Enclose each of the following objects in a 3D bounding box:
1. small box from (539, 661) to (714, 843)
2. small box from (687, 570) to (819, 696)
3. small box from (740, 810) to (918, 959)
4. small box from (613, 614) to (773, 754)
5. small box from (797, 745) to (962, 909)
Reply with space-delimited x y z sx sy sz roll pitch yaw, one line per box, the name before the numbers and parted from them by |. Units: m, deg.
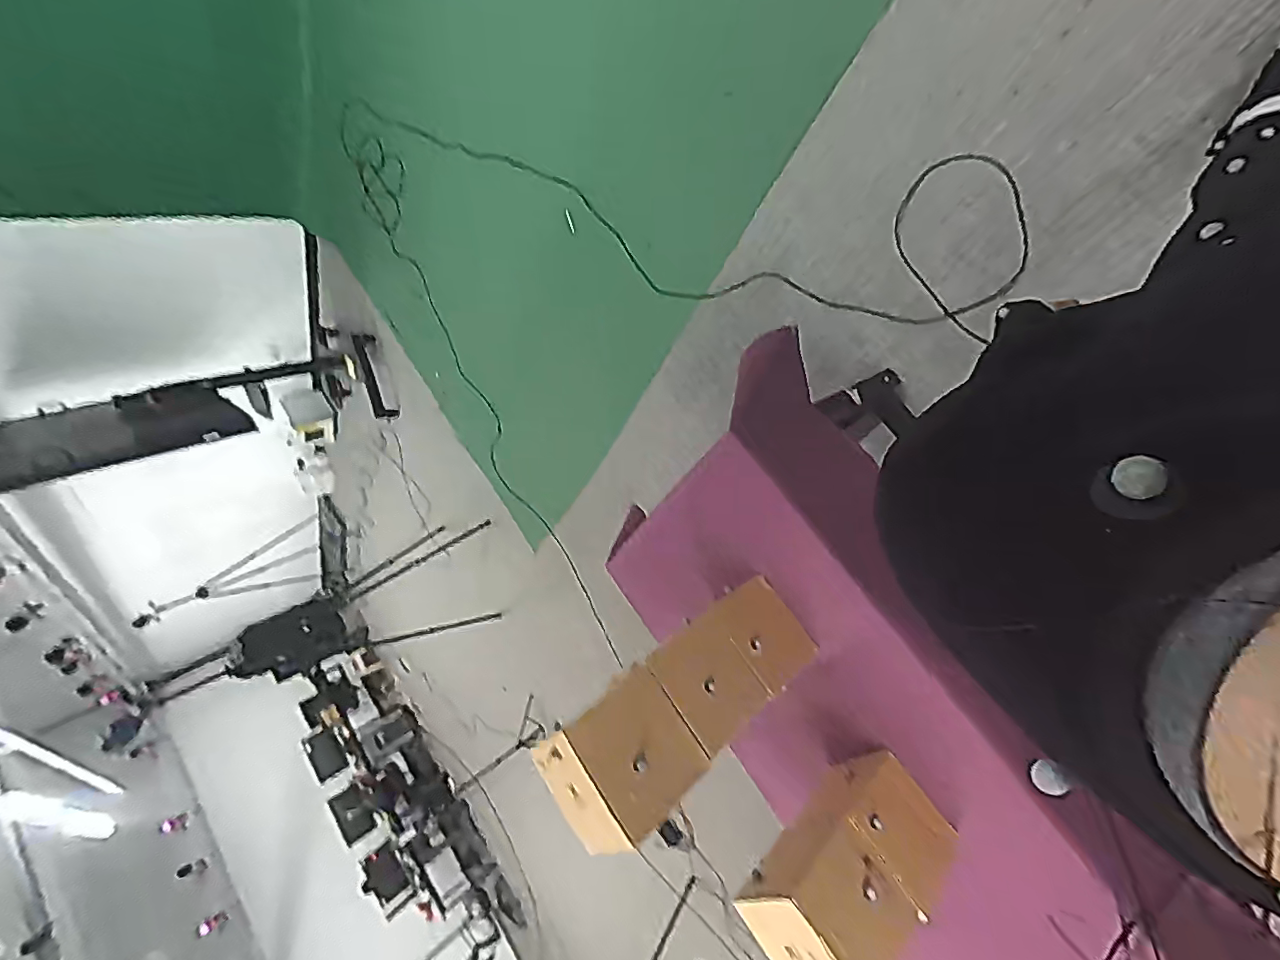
small box | -0.020 0.413 0.830 0.179 0.176 0.168 53 138 13
small box | 0.207 0.305 1.040 0.179 0.176 0.168 54 139 13
small box | 0.302 0.667 0.865 0.168 0.176 0.179 51 139 17
small box | 0.091 0.354 0.936 0.179 0.176 0.168 53 139 12
small box | 0.425 0.611 0.960 0.179 0.176 0.168 51 139 17
